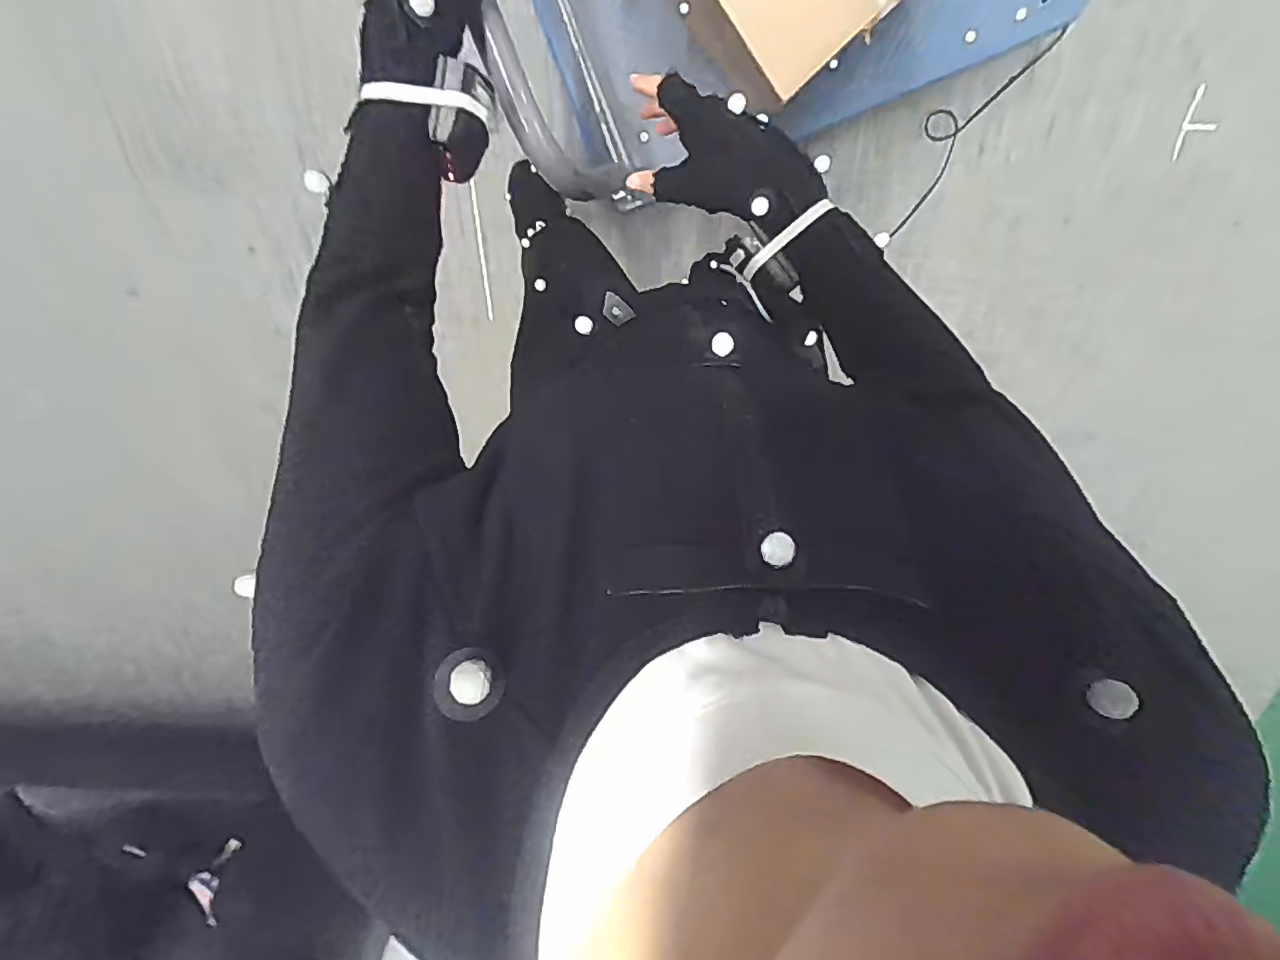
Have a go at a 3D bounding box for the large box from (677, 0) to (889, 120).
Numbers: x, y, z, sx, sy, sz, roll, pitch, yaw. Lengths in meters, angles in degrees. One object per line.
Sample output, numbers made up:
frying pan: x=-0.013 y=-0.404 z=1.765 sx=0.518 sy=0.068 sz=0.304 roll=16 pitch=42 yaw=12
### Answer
large box: x=0.196 y=-0.821 z=0.771 sx=0.320 sy=0.320 sz=0.408 roll=-37 pitch=108 yaw=20
